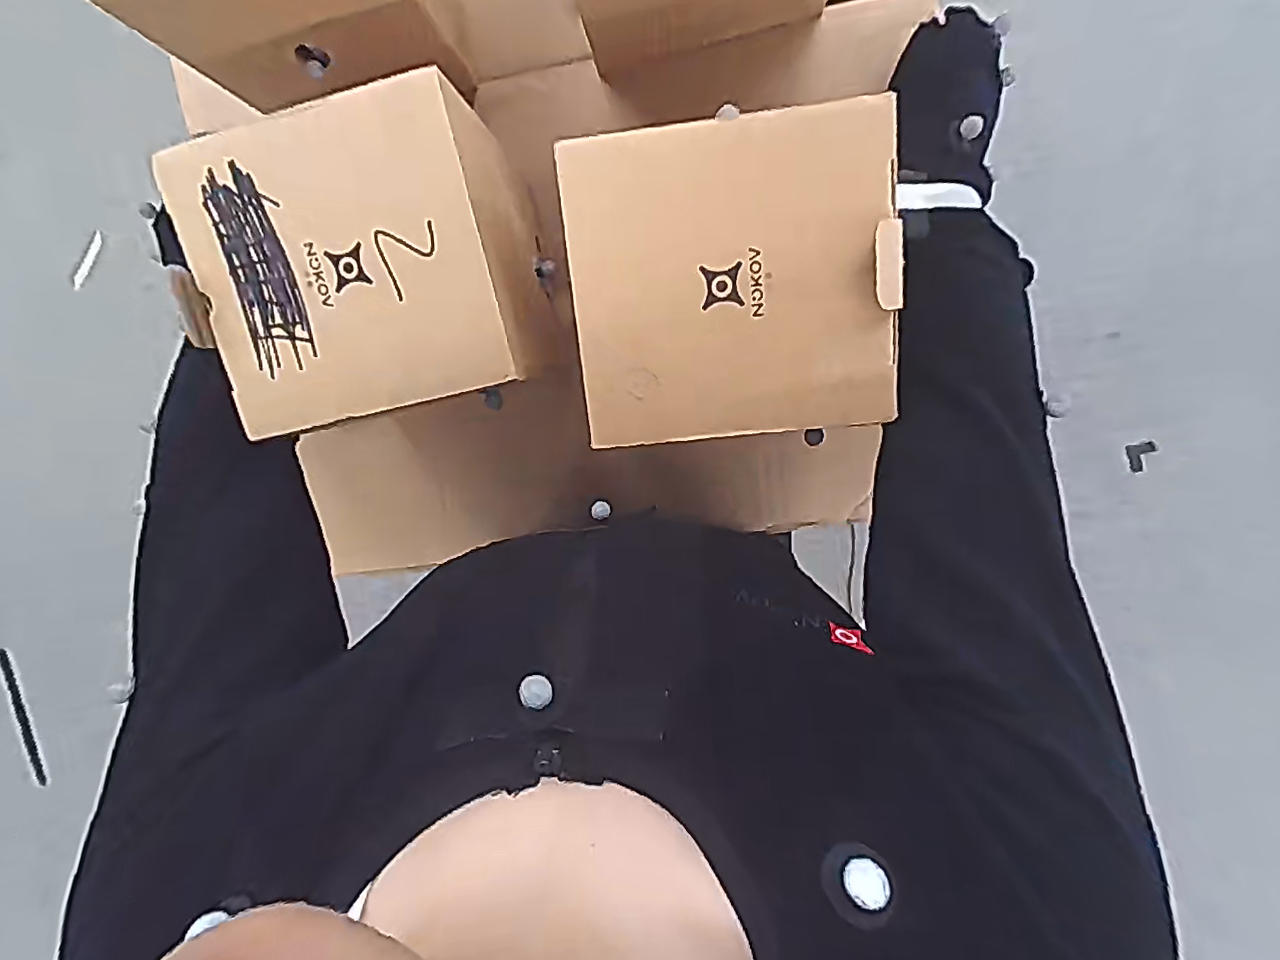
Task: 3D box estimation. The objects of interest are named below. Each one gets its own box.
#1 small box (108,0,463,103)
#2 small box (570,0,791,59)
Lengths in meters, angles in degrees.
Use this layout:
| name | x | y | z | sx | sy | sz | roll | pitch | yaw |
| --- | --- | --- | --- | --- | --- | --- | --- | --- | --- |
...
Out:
| name | x | y | z | sx | sy | sz | roll | pitch | yaw |
| --- | --- | --- | --- | --- | --- | --- | --- | --- | --- |
| small box | -0.234 | -0.381 | 0.350 | 0.168 | 0.176 | 0.179 | -8 | 98 | 6 |
| small box | 0.024 | -0.402 | 0.321 | 0.179 | 0.176 | 0.168 | -9 | 99 | 8 |
